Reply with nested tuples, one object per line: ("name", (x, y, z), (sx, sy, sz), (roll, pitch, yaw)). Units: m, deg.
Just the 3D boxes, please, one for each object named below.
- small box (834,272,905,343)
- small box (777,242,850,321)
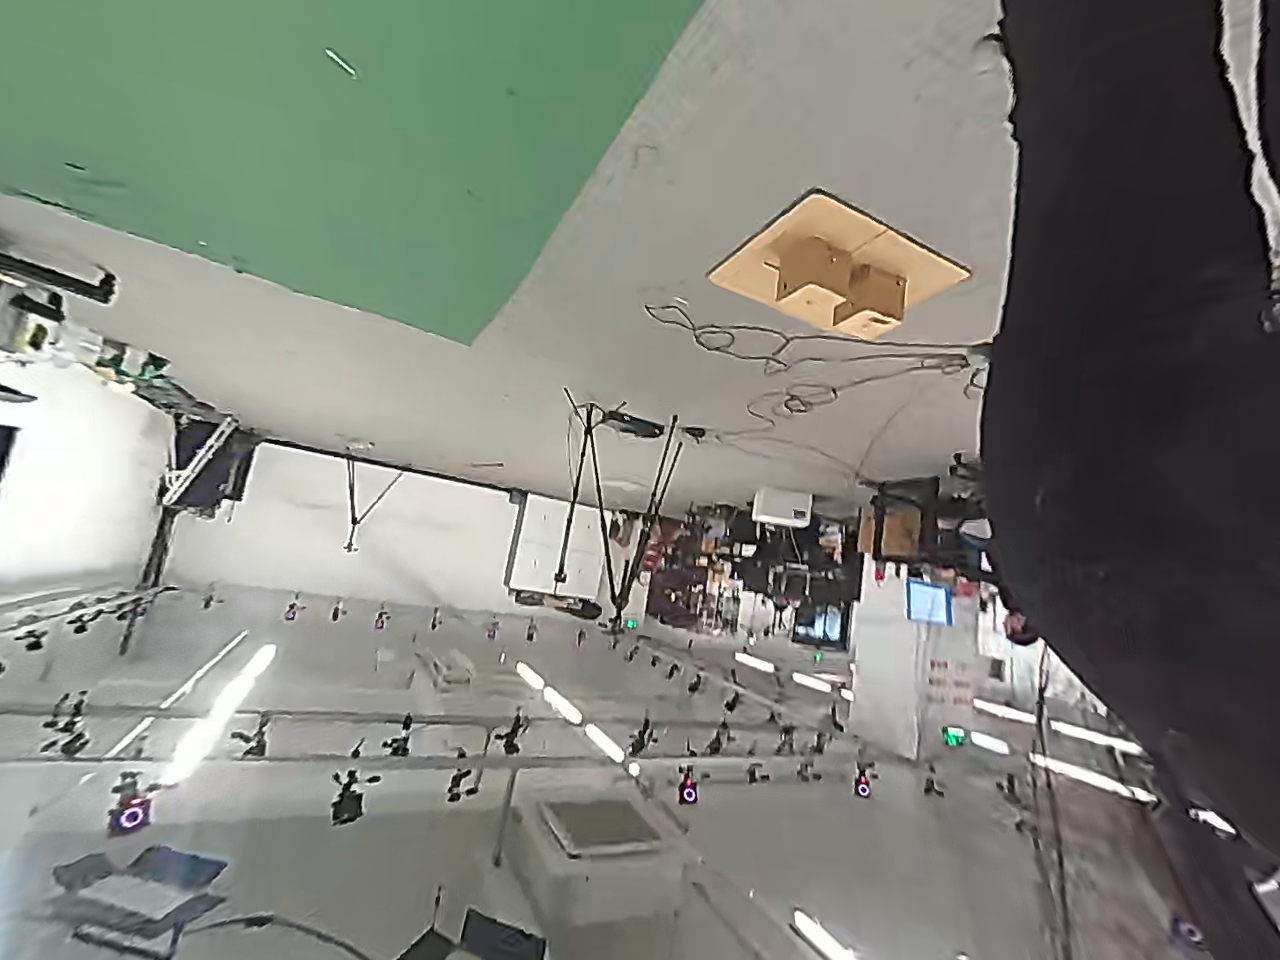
("small box", (0.824, -0.619, 1.941), (0.168, 0.176, 0.179), (12, 170, -19))
("small box", (0.596, -0.676, 1.852), (0.168, 0.176, 0.179), (12, 169, -23))
